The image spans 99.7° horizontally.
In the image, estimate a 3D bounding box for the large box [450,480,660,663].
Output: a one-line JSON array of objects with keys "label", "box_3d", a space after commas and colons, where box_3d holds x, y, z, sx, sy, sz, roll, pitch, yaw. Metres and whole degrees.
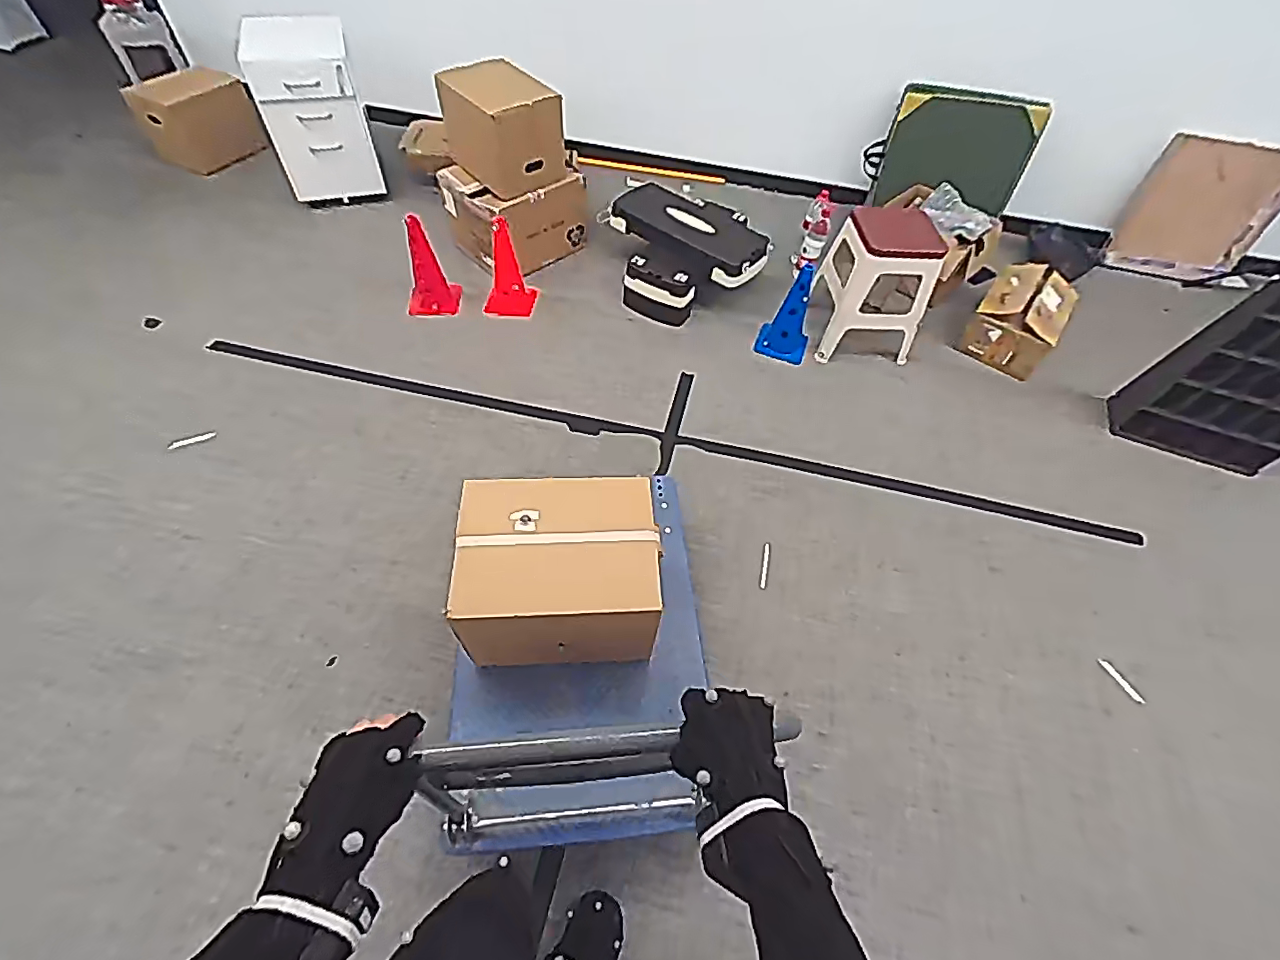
[{"label": "large box", "box_3d": [-0.176, 0.215, 1.233, 0.408, 0.320, 0.320, -1, 55, -4]}]
